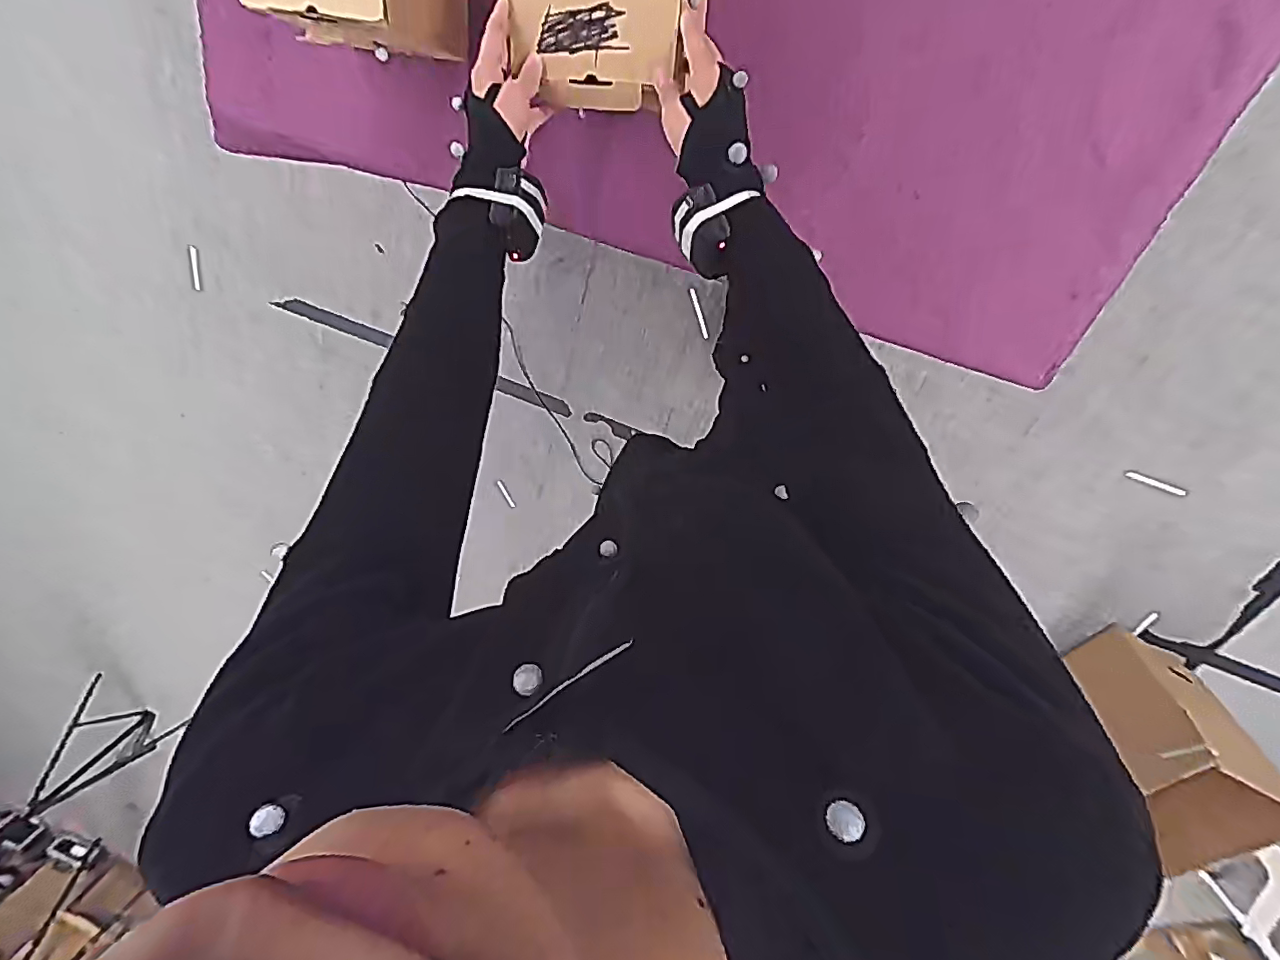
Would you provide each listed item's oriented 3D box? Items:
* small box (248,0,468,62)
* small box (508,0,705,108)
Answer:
[{"bbox_3d":[-0.297,-0.581,0.576,0.168,0.176,0.179,13,120,7],"label":"small box"},{"bbox_3d":[-0.024,-0.498,0.553,0.168,0.176,0.179,10,118,9],"label":"small box"}]
